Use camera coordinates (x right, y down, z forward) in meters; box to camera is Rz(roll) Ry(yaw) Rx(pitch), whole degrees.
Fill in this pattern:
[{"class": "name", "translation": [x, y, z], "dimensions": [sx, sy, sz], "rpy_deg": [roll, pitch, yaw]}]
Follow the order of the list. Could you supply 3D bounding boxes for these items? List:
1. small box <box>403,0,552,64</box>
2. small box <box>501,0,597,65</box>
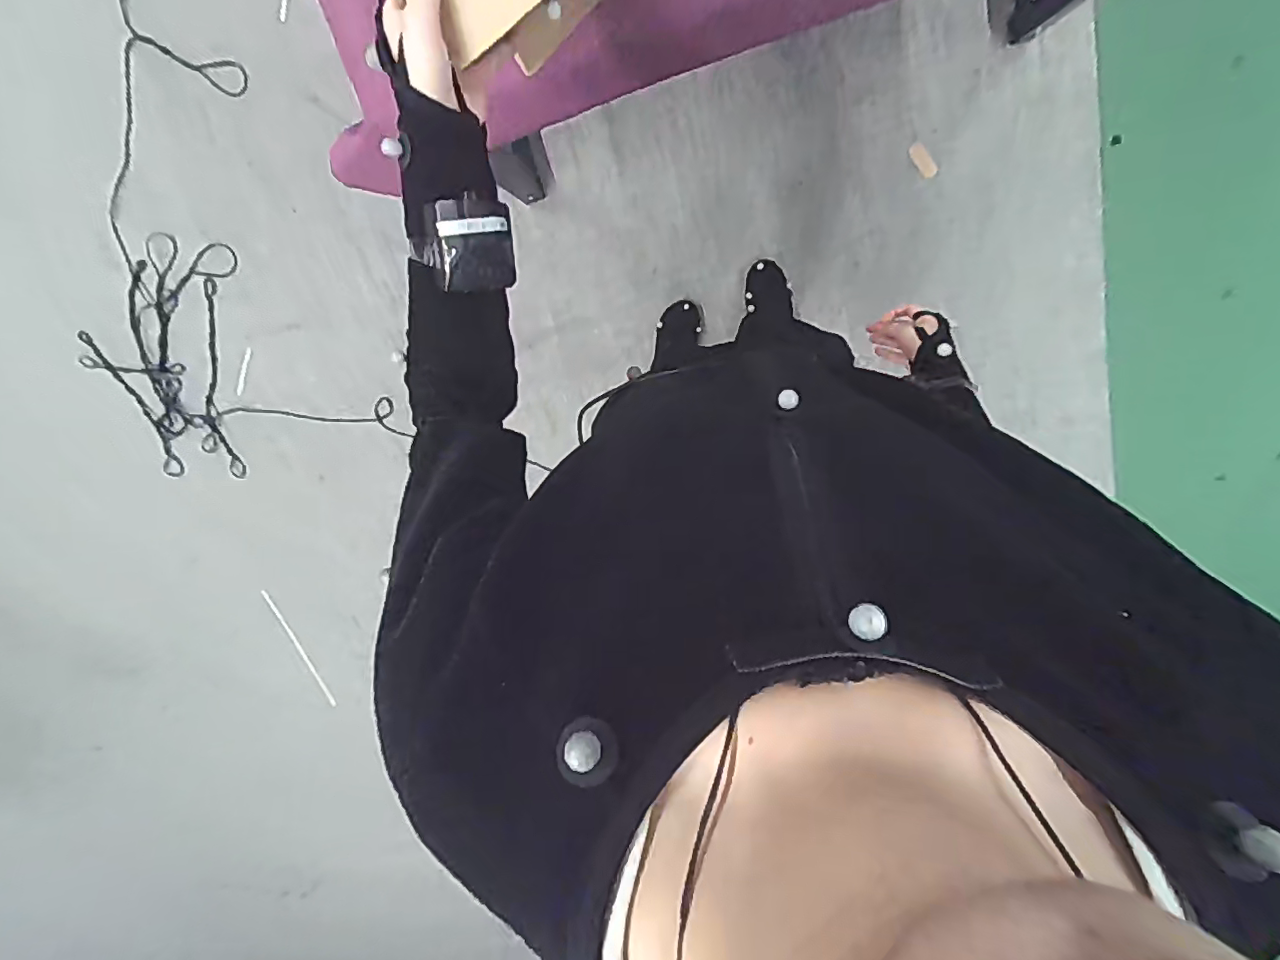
[{"class": "small box", "translation": [-0.094, -0.417, 0.344], "dimensions": [0.179, 0.176, 0.168], "rpy_deg": [-22, 130, 25]}, {"class": "small box", "translation": [-0.118, -0.550, 0.508], "dimensions": [0.179, 0.176, 0.168], "rpy_deg": [-39, 102, 14]}]
